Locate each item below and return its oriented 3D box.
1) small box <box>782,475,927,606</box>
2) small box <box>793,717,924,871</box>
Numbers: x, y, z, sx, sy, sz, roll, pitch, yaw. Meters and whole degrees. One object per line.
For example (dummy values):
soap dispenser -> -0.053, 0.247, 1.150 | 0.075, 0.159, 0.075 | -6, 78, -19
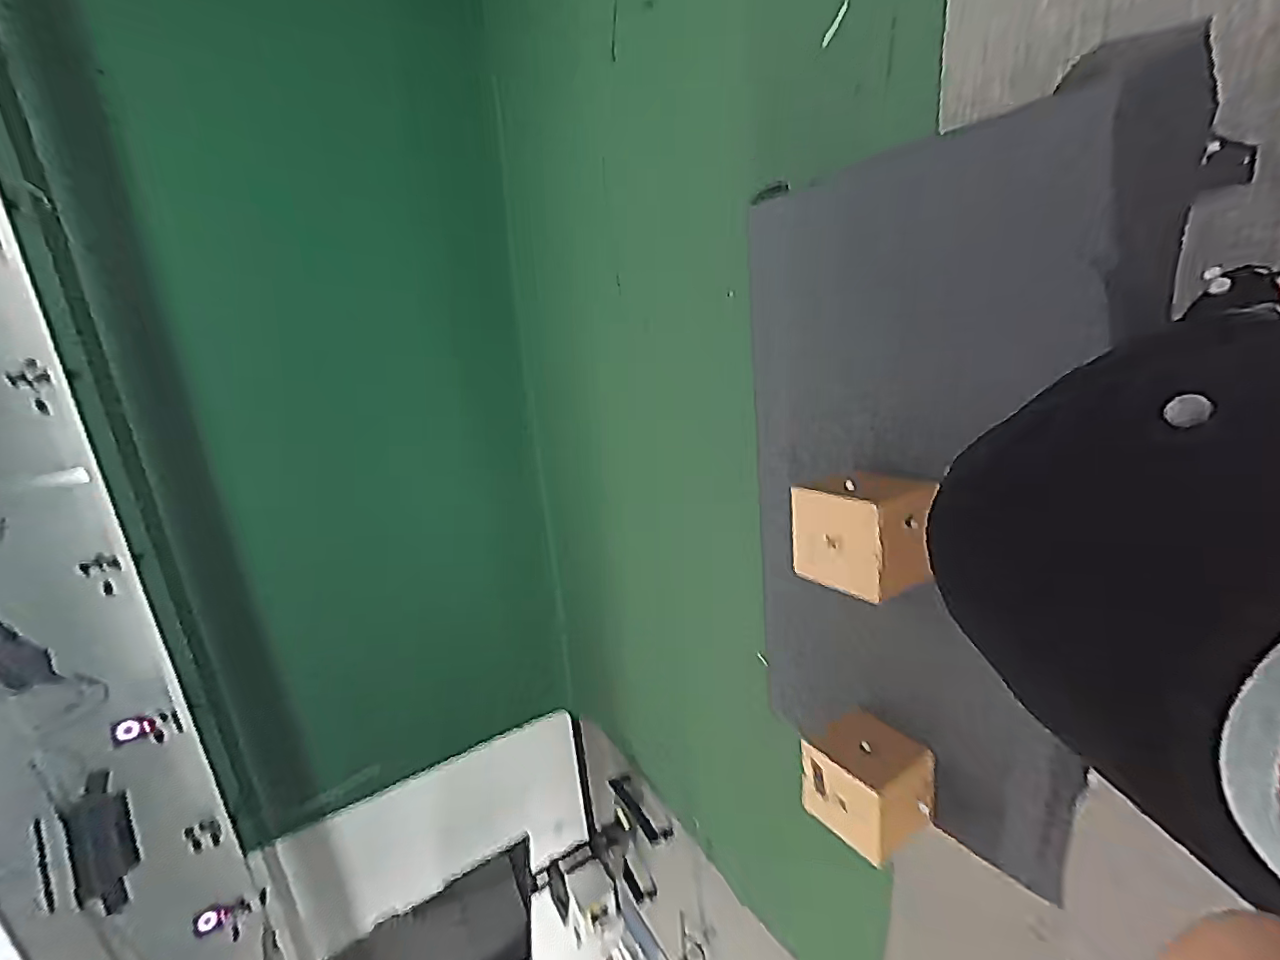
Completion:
small box -> 0.371, 0.093, 0.939 | 0.179, 0.176, 0.168 | 15, 114, 57
small box -> 0.422, 0.595, 1.057 | 0.179, 0.176, 0.168 | 16, 115, 56
